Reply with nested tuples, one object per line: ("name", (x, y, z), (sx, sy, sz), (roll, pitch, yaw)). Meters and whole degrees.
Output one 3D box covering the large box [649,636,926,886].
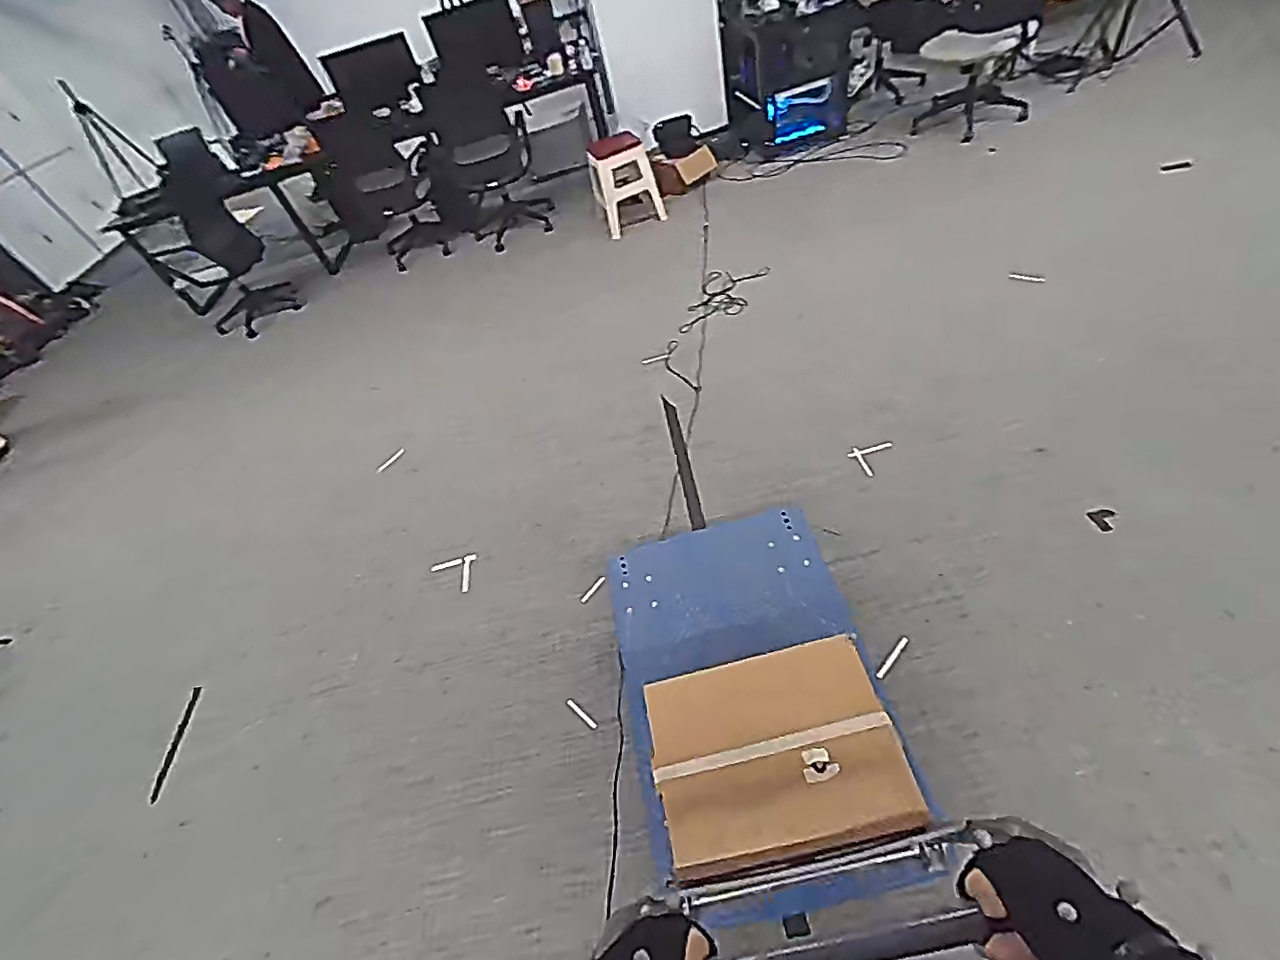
("large box", (0.262, 0.557, 1.058), (0.408, 0.320, 0.320), (-15, 51, 3))
